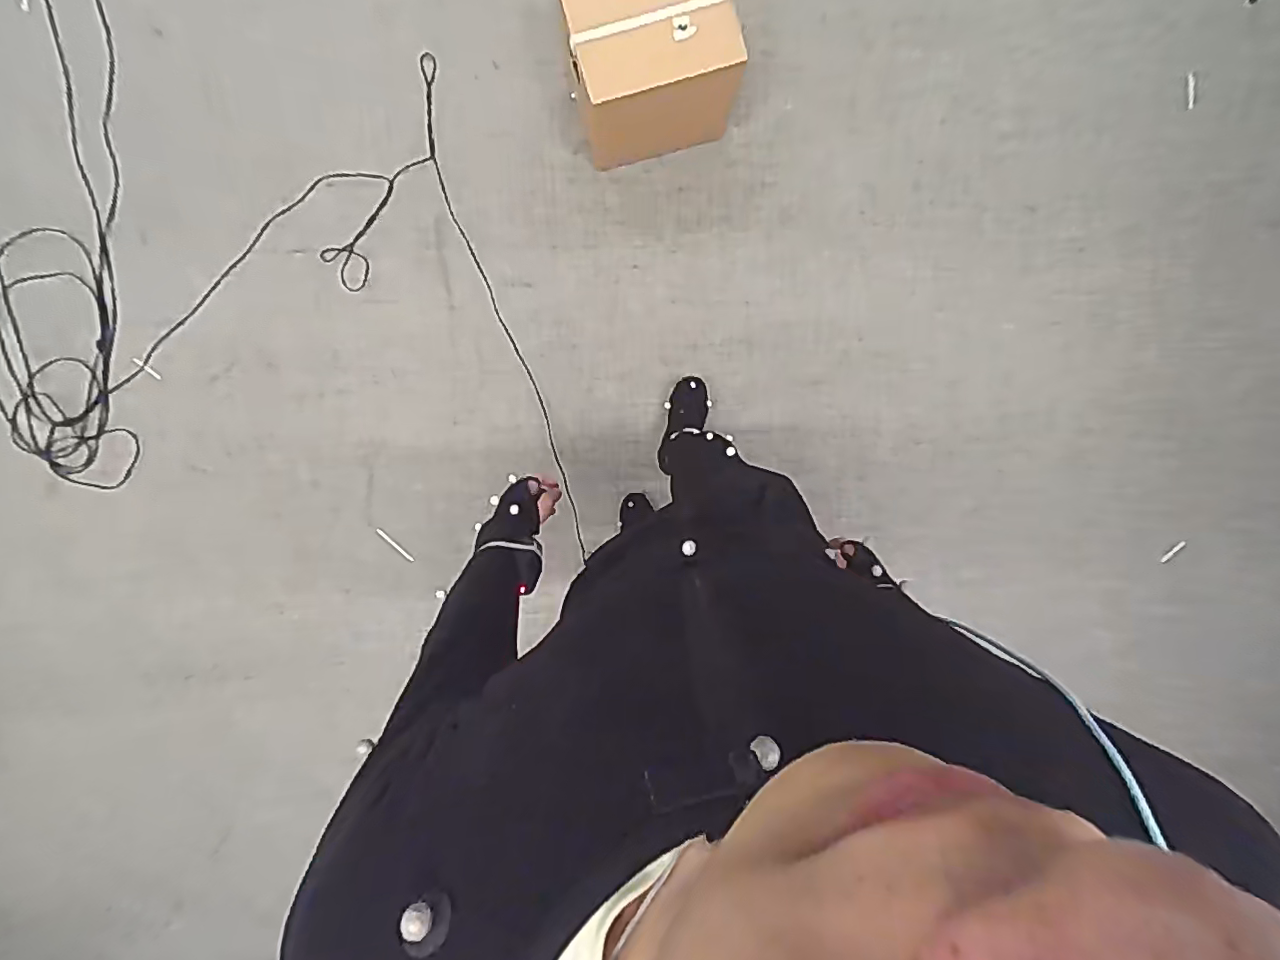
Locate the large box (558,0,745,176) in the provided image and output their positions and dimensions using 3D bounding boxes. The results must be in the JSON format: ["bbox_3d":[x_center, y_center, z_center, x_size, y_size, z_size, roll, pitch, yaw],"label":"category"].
[{"bbox_3d":[0.023,-1.108,1.472,0.408,0.320,0.320,-17,91,-2],"label":"large box"}]
